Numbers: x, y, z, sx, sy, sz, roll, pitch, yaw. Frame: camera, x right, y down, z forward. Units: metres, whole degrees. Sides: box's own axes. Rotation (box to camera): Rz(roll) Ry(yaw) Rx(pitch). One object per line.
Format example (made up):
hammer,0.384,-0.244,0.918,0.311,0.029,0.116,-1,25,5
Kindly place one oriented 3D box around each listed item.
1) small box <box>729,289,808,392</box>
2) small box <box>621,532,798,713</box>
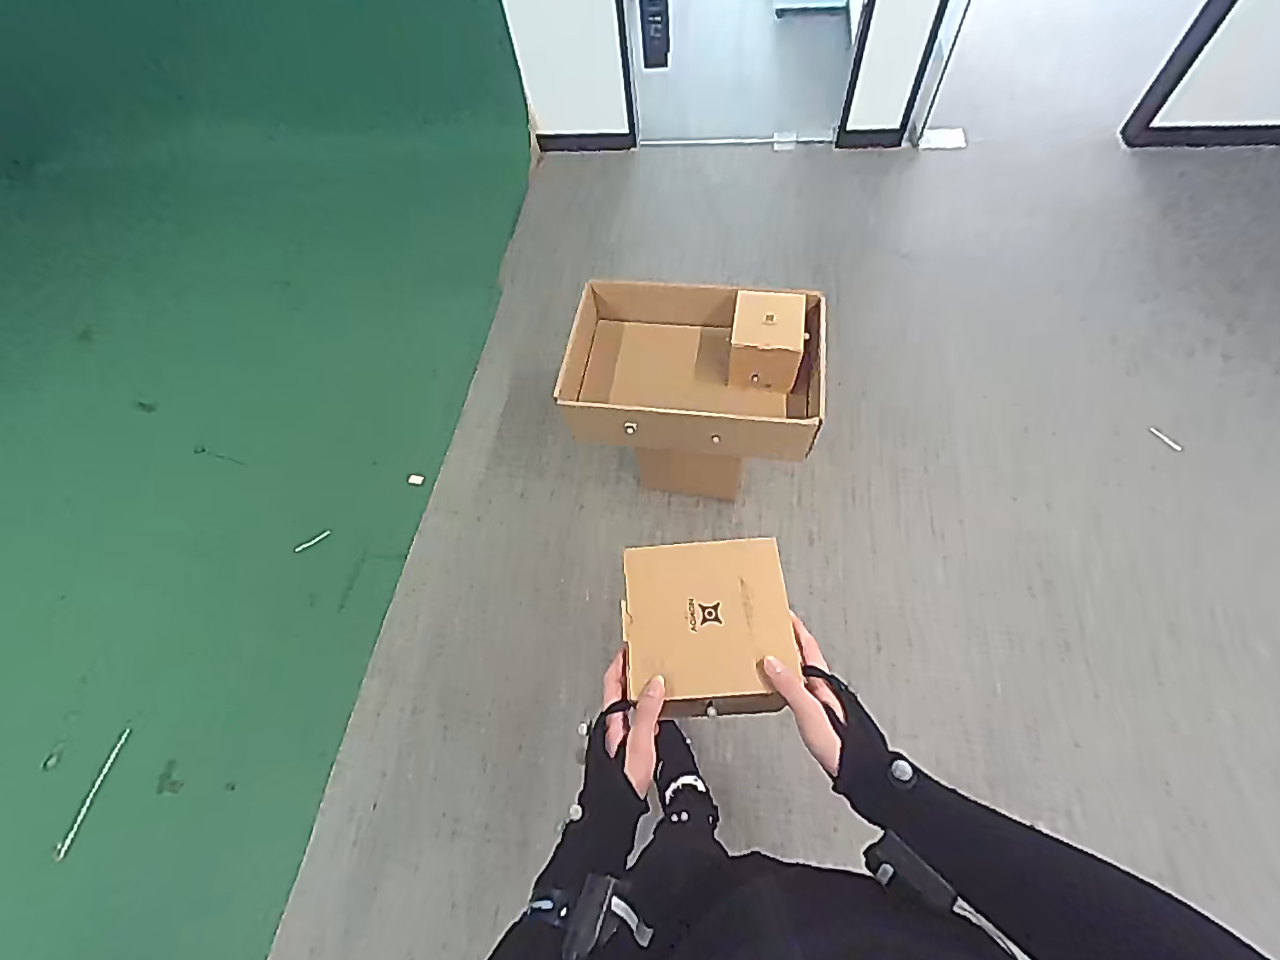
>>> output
small box,0.315,-0.346,1.348,0.168,0.176,0.179,7,65,8
small box,0.074,0.175,0.639,0.179,0.176,0.168,-4,60,3
